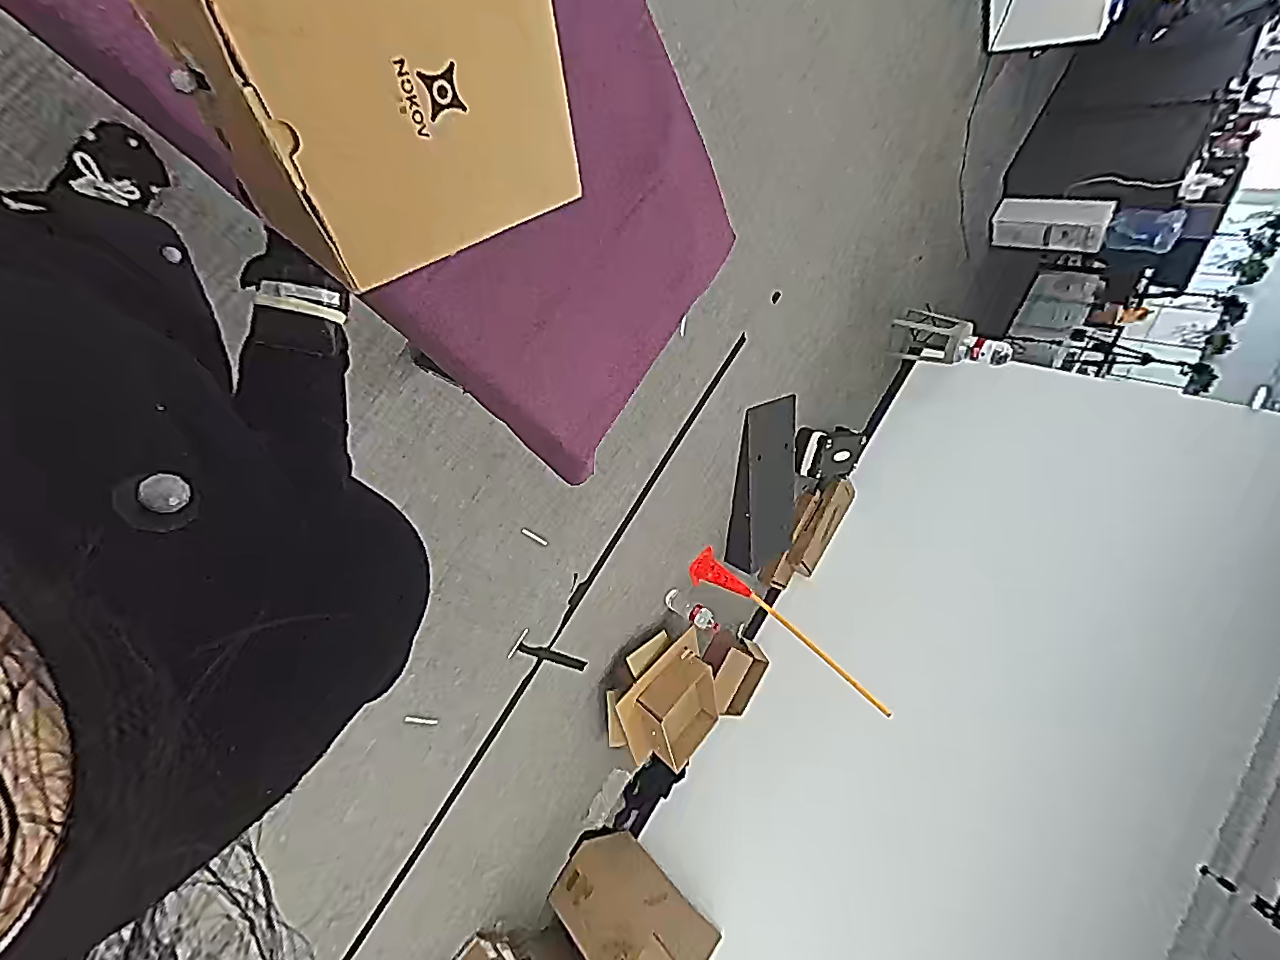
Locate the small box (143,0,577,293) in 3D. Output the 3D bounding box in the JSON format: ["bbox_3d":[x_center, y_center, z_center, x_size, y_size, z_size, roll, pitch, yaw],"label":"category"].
[{"bbox_3d":[-0.168,-0.256,0.346,0.179,0.176,0.168,-37,146,-23],"label":"small box"}]
